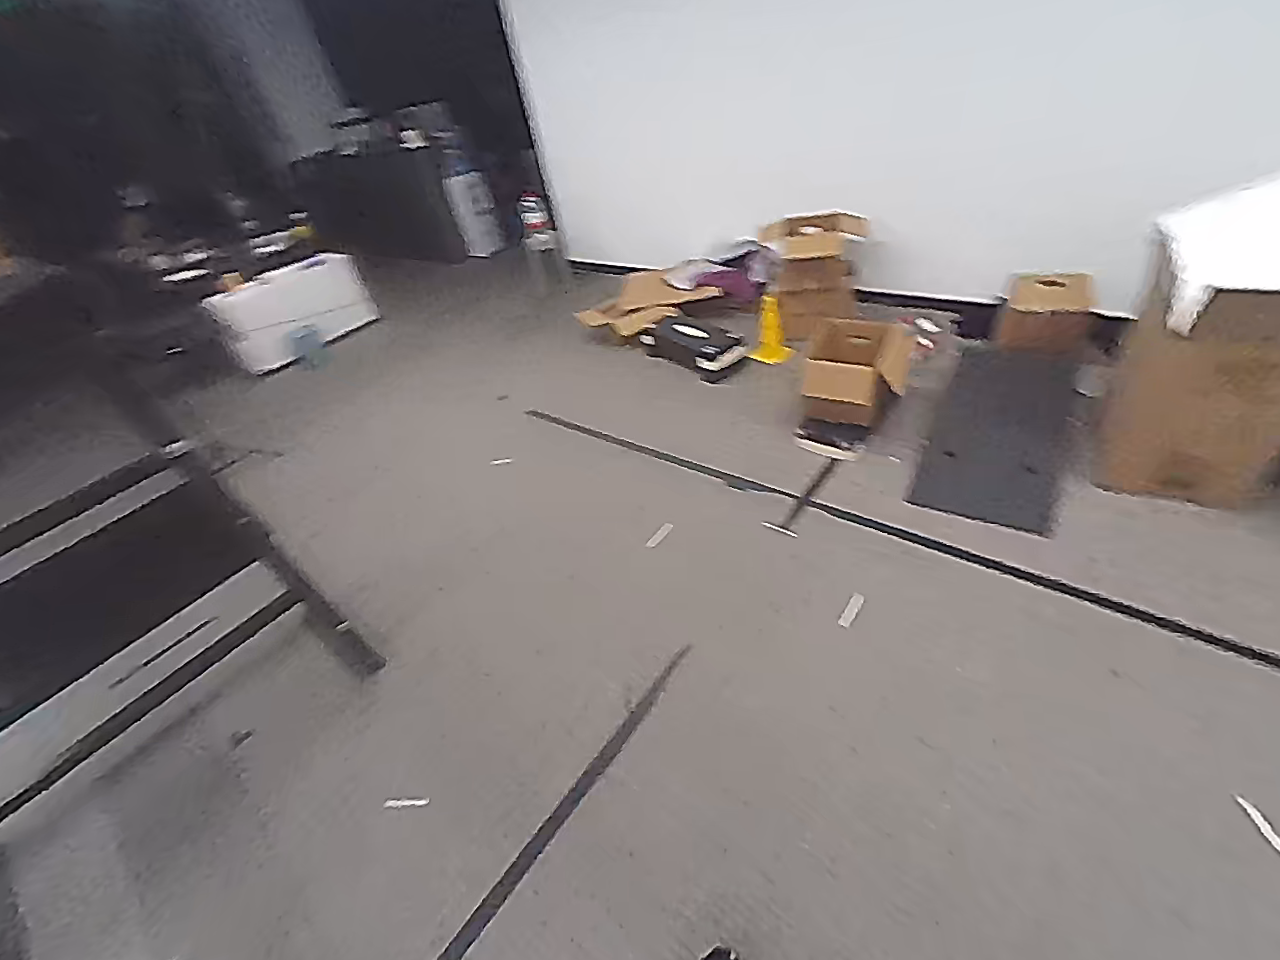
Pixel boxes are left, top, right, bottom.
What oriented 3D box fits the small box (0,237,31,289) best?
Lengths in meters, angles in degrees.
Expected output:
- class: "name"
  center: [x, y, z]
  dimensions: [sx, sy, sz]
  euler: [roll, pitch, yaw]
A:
- class: "small box"
  center: [-1.370, -0.453, 1.066]
  dimensions: [0.179, 0.176, 0.168]
  euler: [21, 50, 39]
